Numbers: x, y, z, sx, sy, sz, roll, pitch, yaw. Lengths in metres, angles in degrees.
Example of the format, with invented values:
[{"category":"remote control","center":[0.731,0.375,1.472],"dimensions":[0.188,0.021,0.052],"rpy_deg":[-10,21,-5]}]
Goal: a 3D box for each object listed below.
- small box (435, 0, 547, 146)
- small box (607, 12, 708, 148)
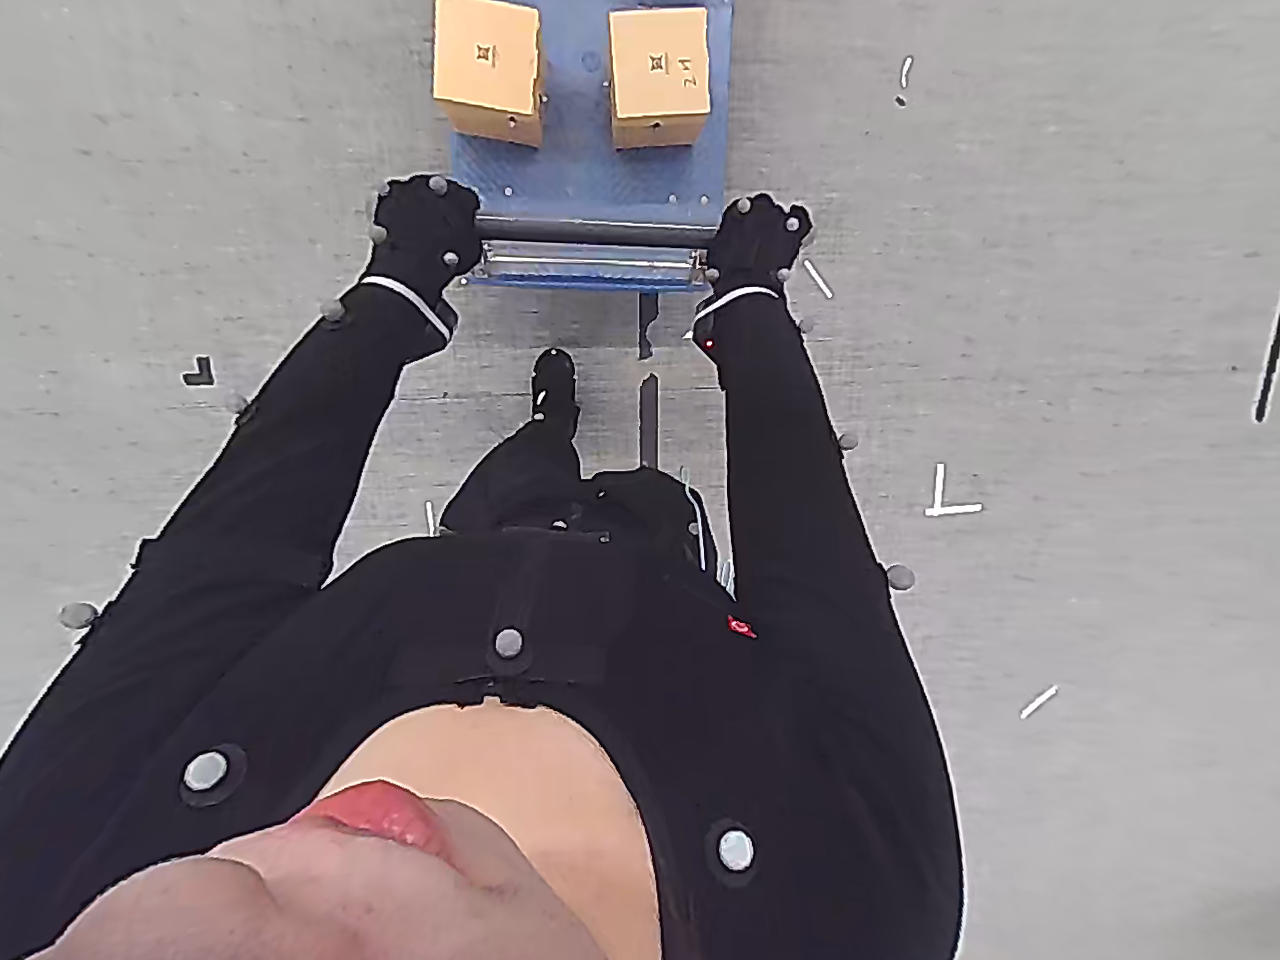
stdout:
[{"category":"small box","center":[-0.276,-0.761,1.024],"dimensions":[0.179,0.176,0.168],"rpy_deg":[5,104,-8]},{"category":"small box","center":[0.029,-0.764,1.050],"dimensions":[0.179,0.176,0.168],"rpy_deg":[-5,105,-3]}]
